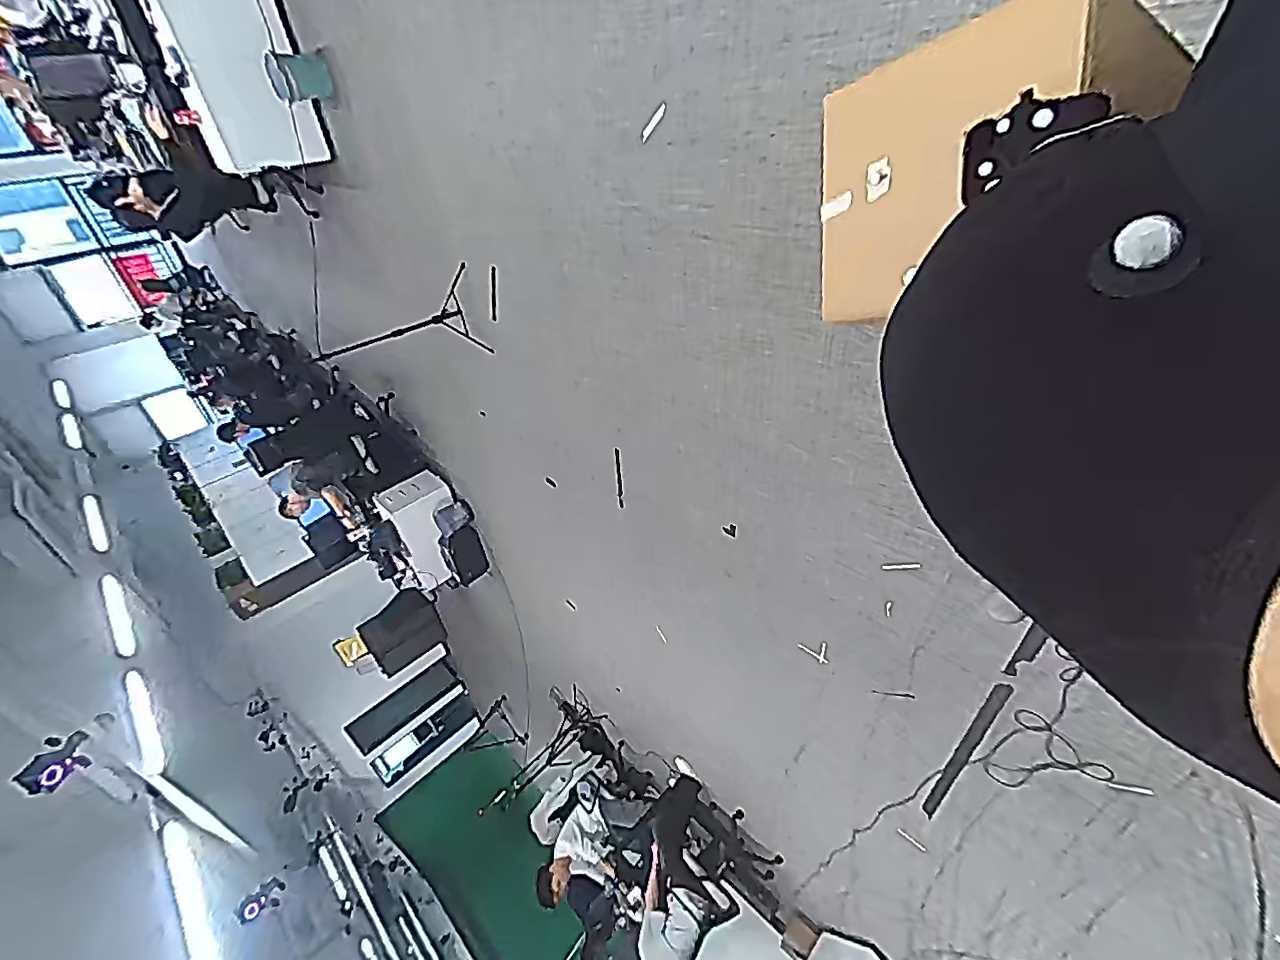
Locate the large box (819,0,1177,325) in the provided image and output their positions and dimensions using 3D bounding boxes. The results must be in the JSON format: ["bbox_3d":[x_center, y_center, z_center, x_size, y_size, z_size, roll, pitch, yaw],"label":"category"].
[{"bbox_3d":[0.515,-0.405,0.802,0.320,0.408,0.320,17,113,52],"label":"large box"}]
